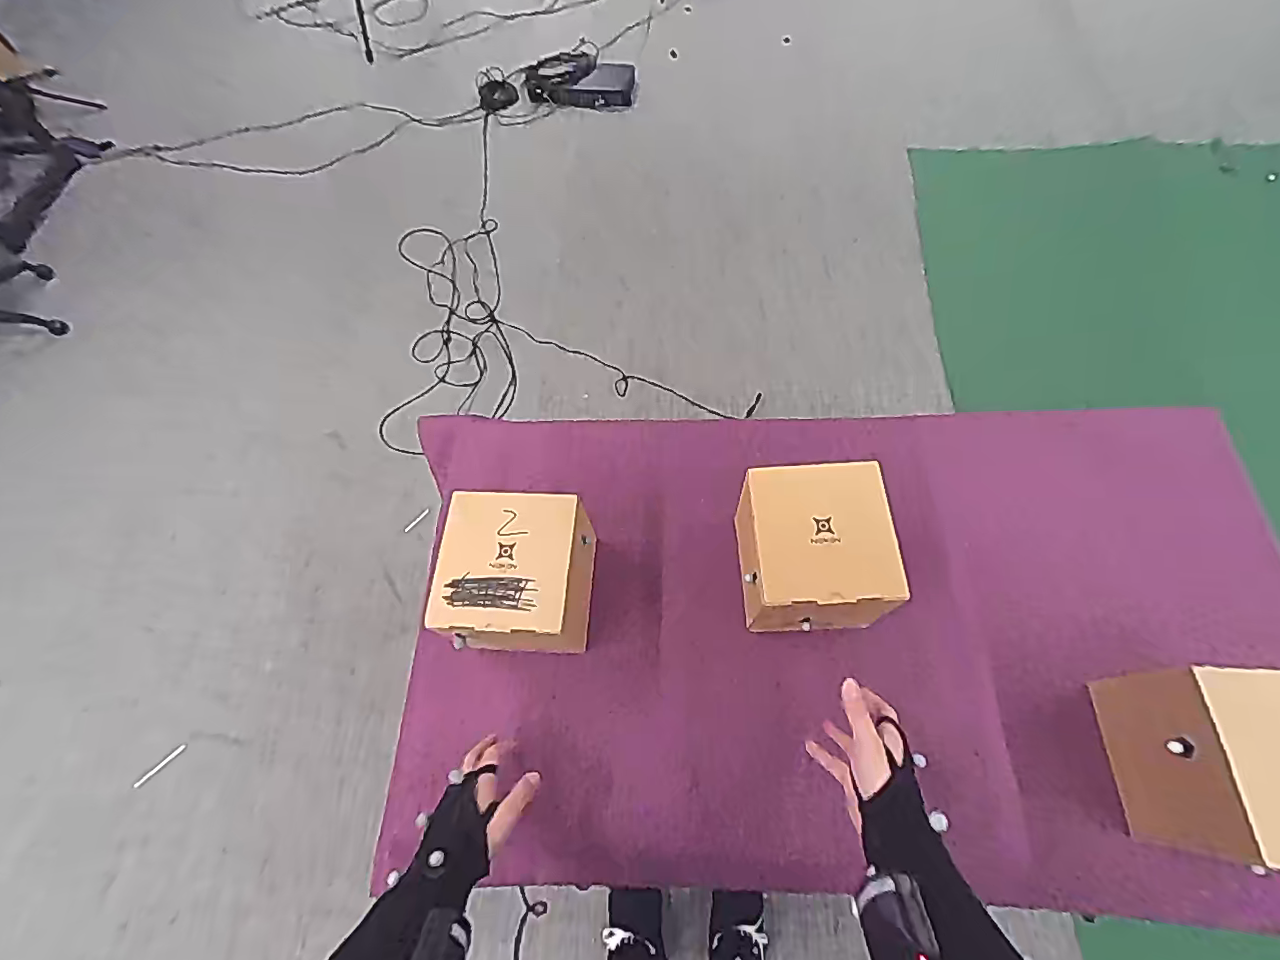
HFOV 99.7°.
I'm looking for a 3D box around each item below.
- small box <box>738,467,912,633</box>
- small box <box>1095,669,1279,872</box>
[{"bbox_3d":[0.227,0.098,0.719,0.168,0.176,0.179,-3,66,2],"label":"small box"},{"bbox_3d":[0.648,0.311,0.584,0.168,0.176,0.179,1,64,6],"label":"small box"}]
